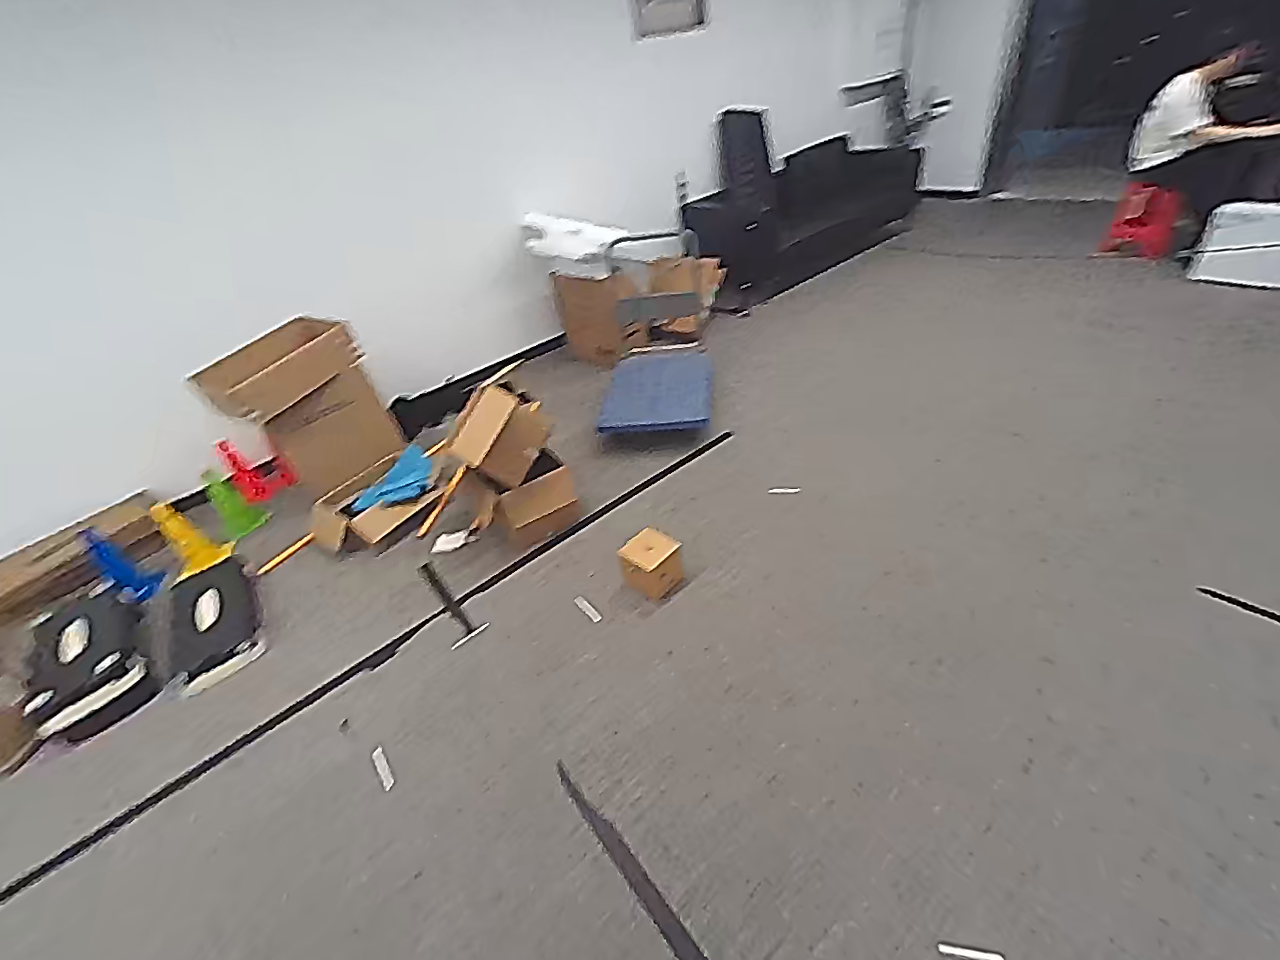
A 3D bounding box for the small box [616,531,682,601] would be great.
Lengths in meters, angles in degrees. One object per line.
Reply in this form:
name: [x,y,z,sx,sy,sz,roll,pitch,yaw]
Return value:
small box: [0.040,0.330,2.045,0.179,0.176,0.168,23,48,39]
